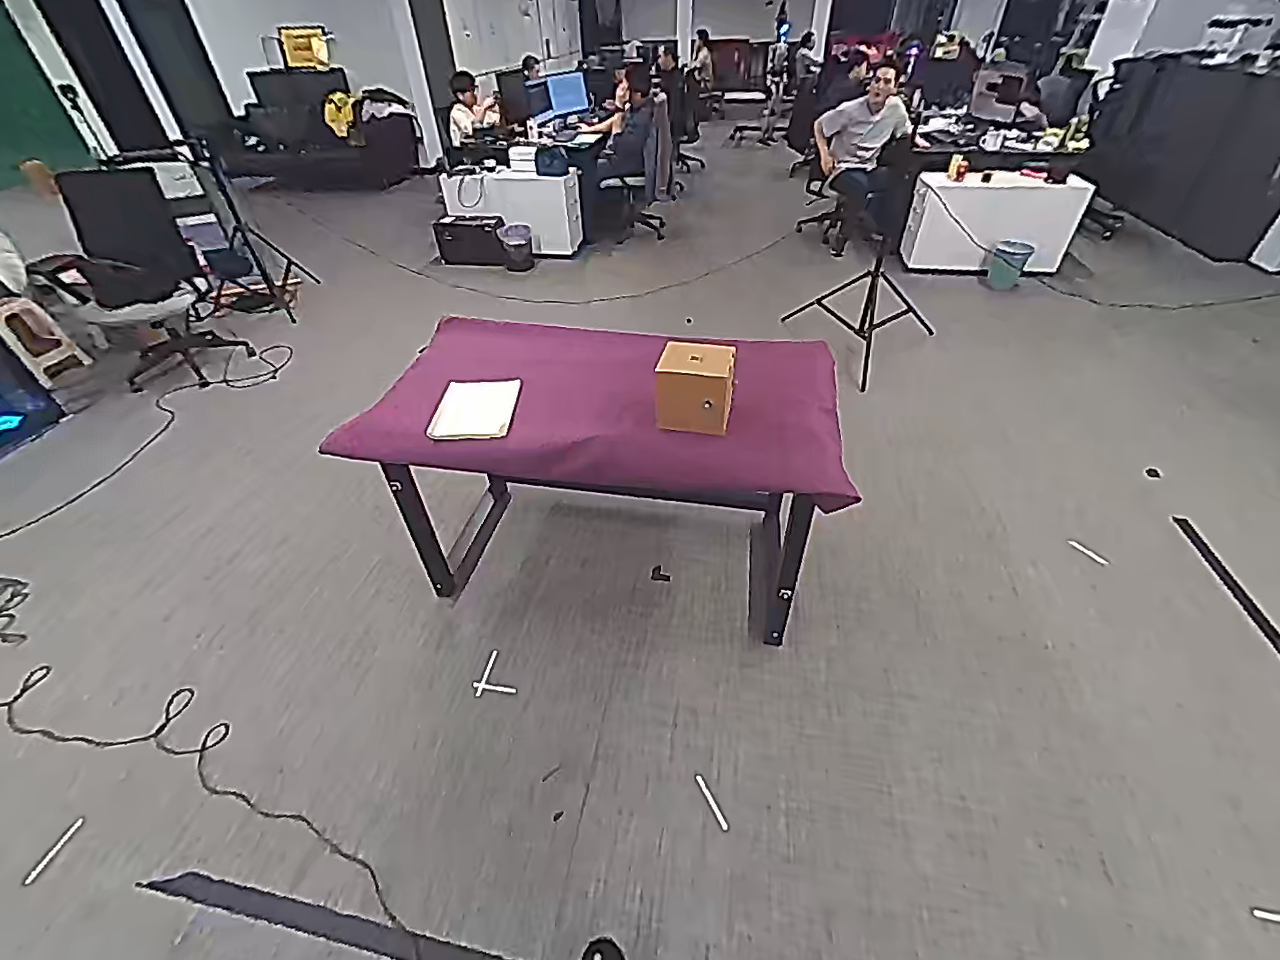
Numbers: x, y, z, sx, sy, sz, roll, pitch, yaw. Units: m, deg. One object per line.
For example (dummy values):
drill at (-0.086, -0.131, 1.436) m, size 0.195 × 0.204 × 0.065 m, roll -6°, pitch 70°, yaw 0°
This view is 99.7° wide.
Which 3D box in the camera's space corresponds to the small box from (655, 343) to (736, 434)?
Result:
small box at (0.141, -0.231, 1.369) m, size 0.179 × 0.176 × 0.168 m, roll 6°, pitch 39°, yaw 12°
